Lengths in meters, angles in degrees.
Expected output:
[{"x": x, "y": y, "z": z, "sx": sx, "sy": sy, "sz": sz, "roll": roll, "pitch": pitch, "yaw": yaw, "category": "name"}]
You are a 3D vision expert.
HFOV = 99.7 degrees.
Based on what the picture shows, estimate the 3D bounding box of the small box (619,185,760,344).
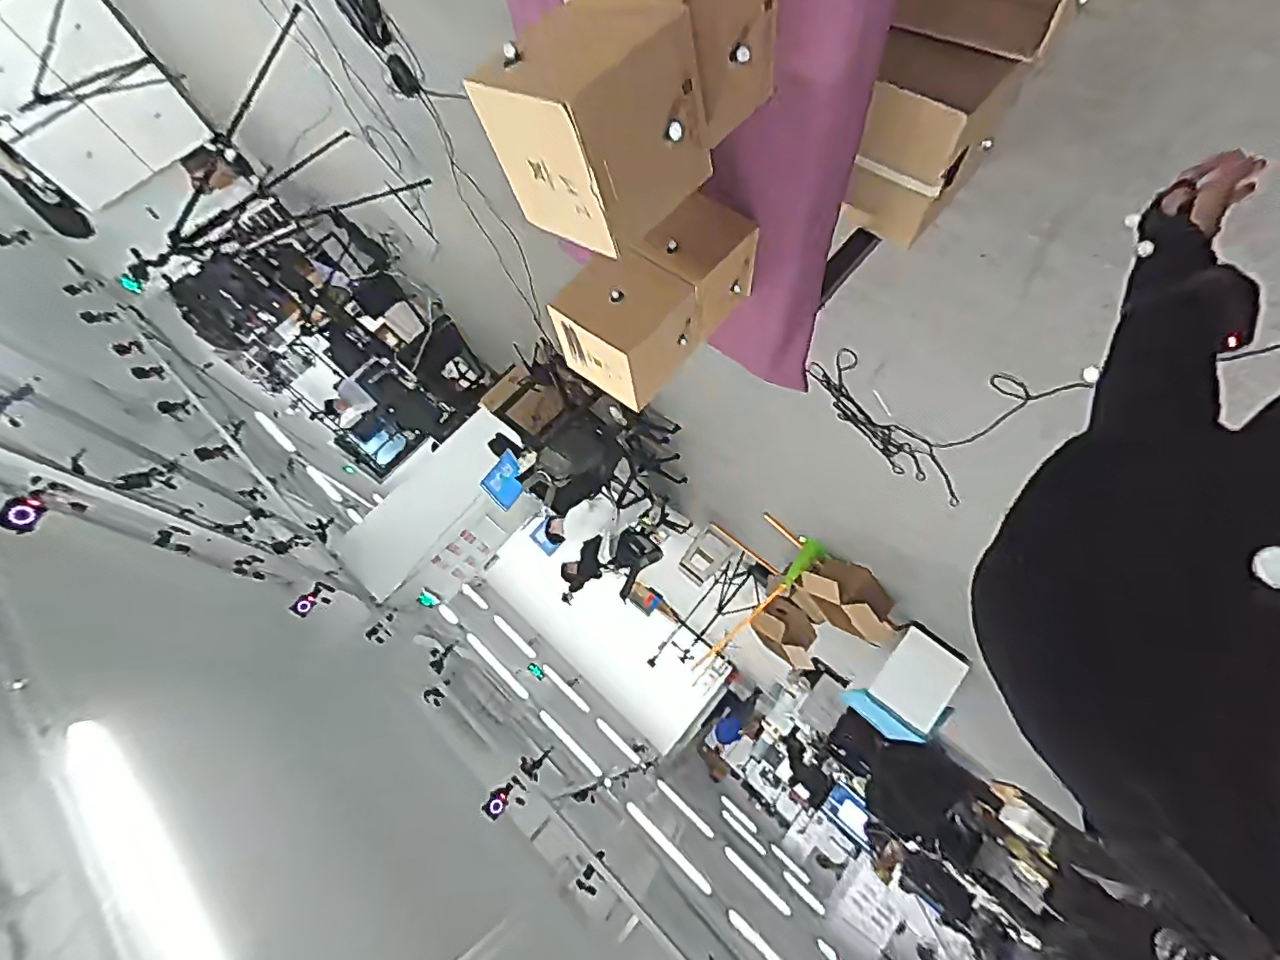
[{"x": 0.085, "y": -0.385, "z": 0.960, "sx": 0.179, "sy": 0.176, "sz": 0.168, "roll": 37, "pitch": 165, "yaw": 19, "category": "small box"}]

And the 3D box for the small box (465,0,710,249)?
[{"x": -0.048, "y": -0.396, "z": 0.595, "sx": 0.179, "sy": 0.176, "sz": 0.168, "roll": 35, "pitch": 165, "yaw": 30, "category": "small box"}]

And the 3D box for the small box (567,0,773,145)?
[{"x": 0.043, "y": -0.530, "z": 0.637, "sx": 0.179, "sy": 0.176, "sz": 0.168, "roll": 37, "pitch": 165, "yaw": 24, "category": "small box"}]
